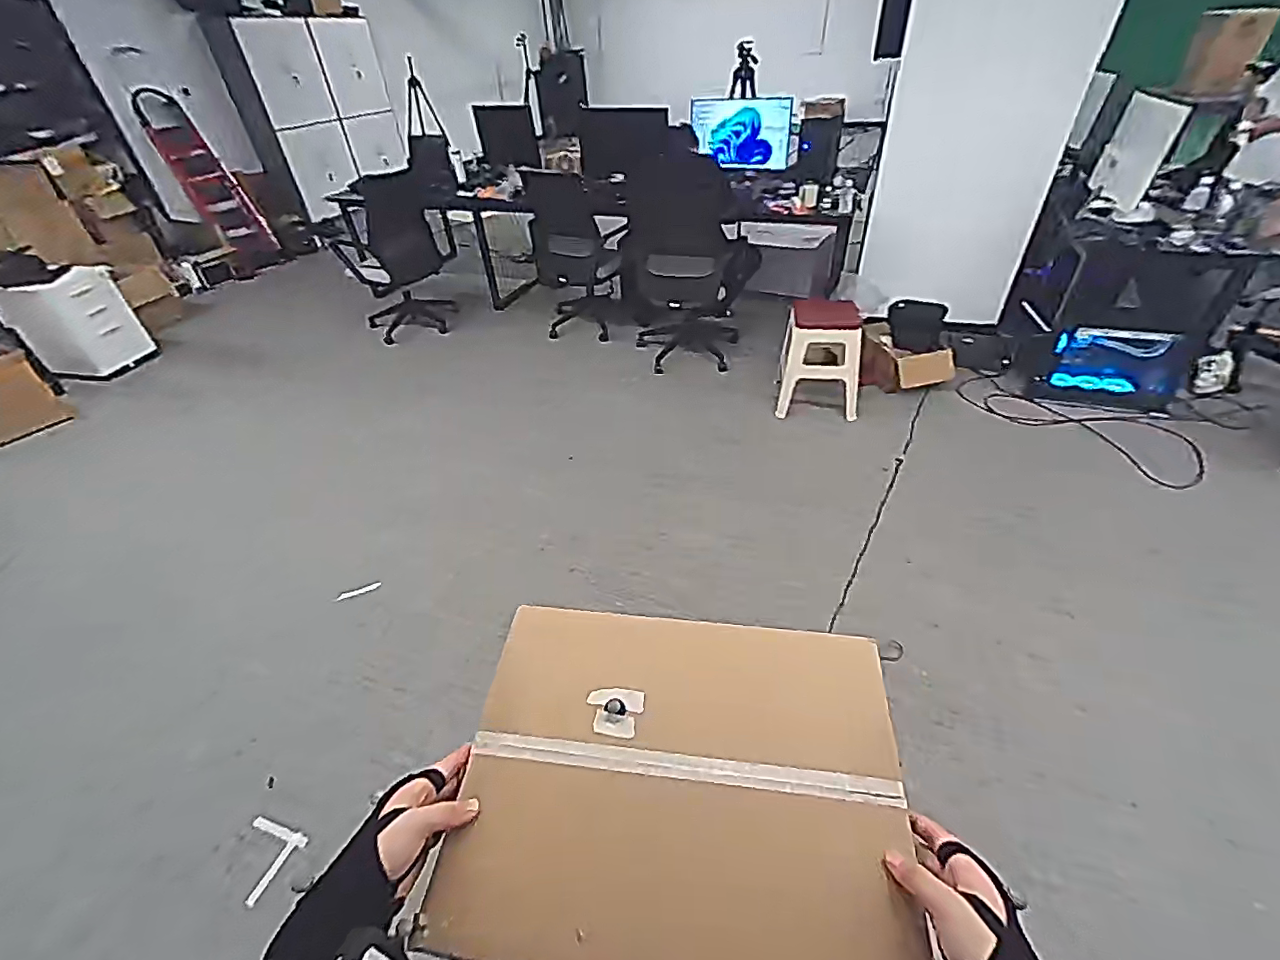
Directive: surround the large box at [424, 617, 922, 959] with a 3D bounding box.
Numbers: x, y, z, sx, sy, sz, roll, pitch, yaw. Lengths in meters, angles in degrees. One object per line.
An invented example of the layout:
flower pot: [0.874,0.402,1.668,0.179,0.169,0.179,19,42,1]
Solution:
large box: [0.046,0.382,0.626,0.408,0.320,0.320,2,45,8]
